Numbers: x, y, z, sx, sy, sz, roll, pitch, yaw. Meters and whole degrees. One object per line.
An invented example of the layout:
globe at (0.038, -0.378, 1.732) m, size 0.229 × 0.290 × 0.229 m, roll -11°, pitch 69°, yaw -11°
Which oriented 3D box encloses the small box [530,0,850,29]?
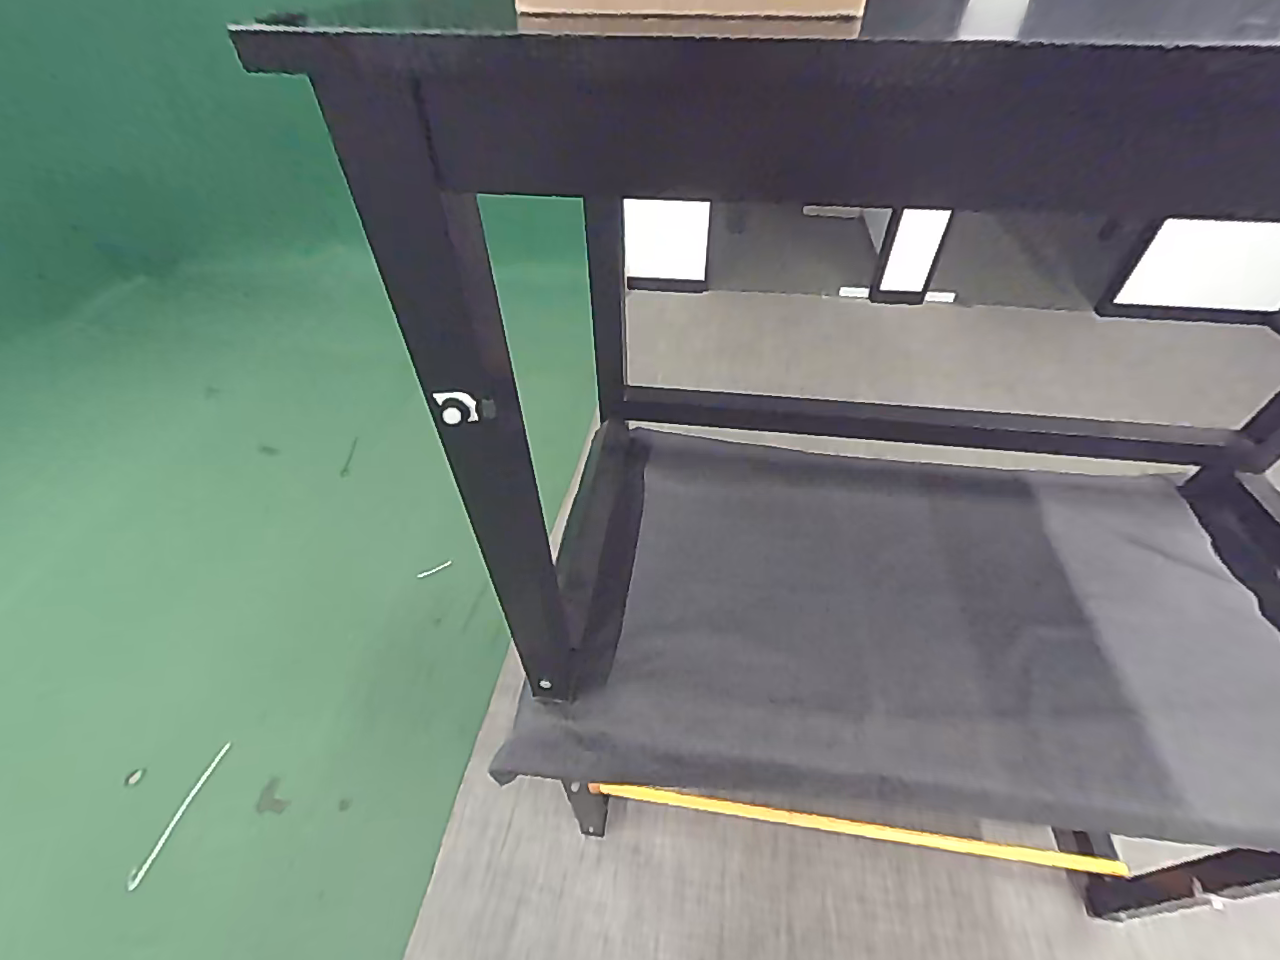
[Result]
small box at (0.031, -0.335, 0.262) m, size 0.168 × 0.176 × 0.179 m, roll 6°, pitch 45°, yaw 6°
